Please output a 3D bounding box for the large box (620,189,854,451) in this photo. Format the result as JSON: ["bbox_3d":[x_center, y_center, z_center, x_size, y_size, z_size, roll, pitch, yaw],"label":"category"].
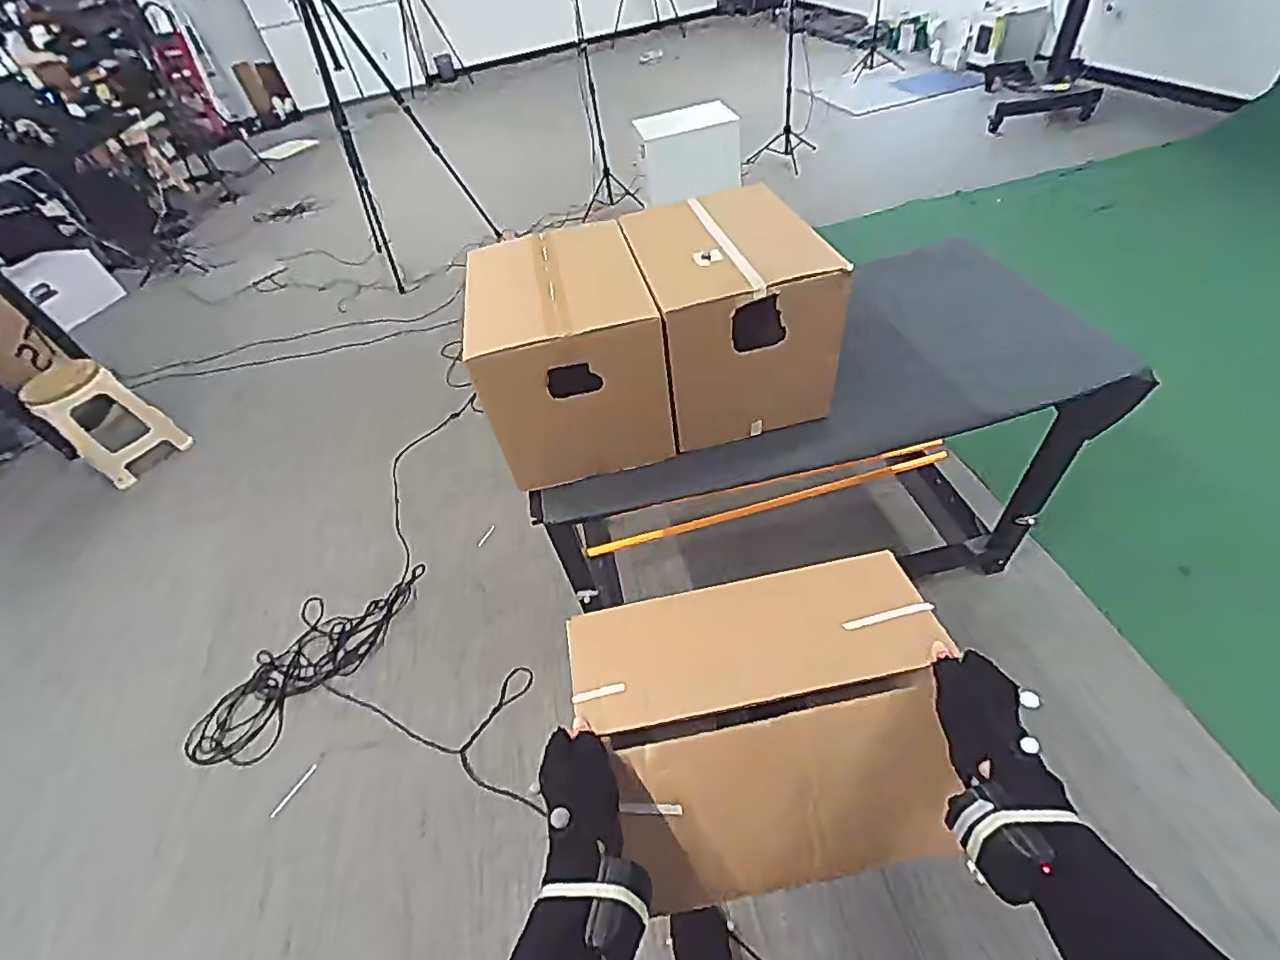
[{"bbox_3d":[0.169,-0.327,1.090,0.320,0.320,0.408,-15,48,-2],"label":"large box"}]
